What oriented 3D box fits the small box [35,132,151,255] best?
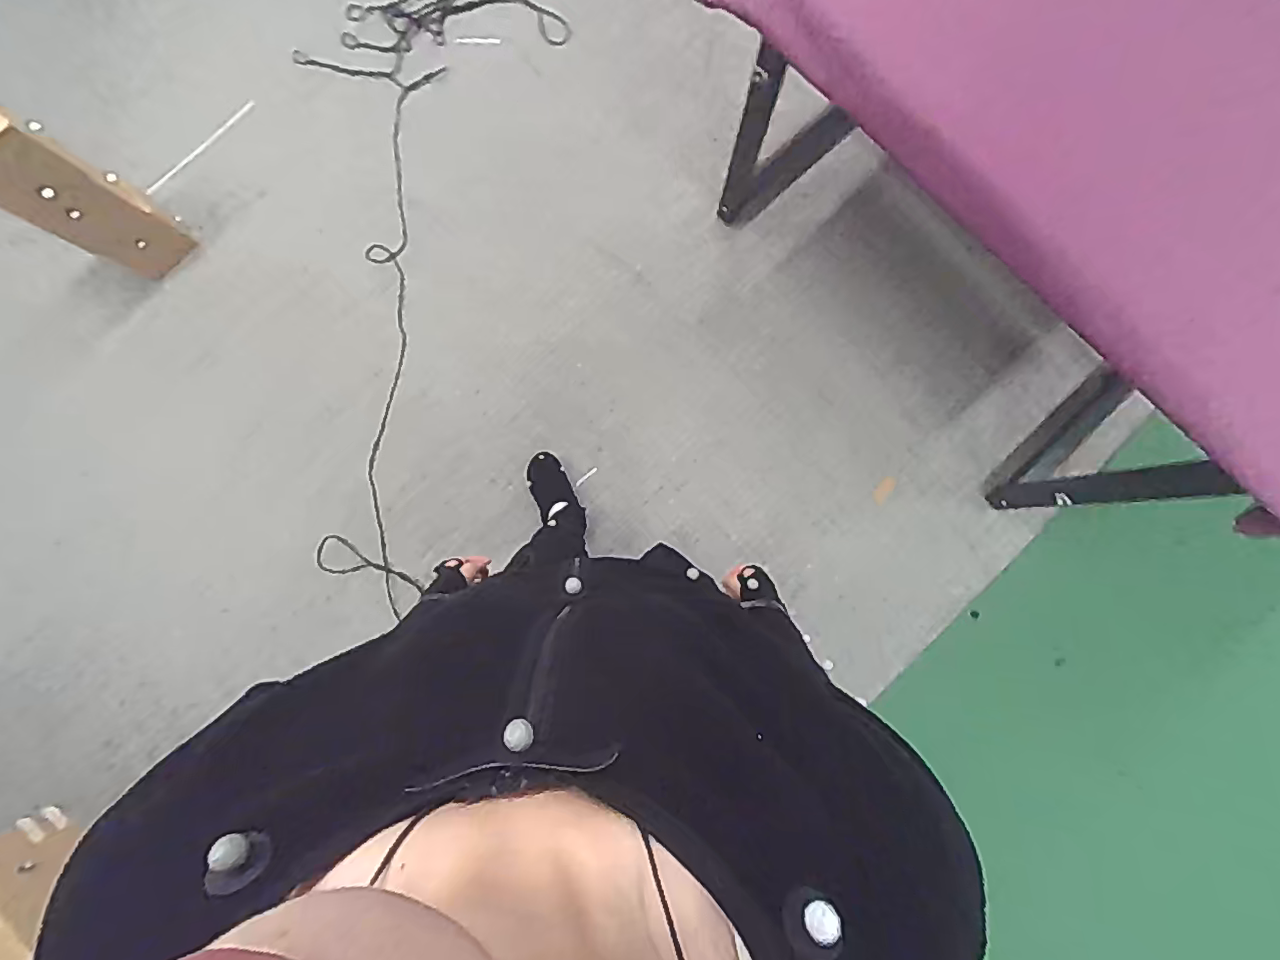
[{"bbox_3d":[-1.405,-0.707,1.356,0.179,0.176,0.168,-44,87,-4],"label":"small box"}]

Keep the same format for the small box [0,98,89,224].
[{"bbox_3d":[-1.392,-0.714,1.192,0.168,0.176,0.179,44,86,4],"label":"small box"}]

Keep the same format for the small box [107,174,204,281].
[{"bbox_3d":[-1.397,-0.699,1.520,0.179,0.176,0.168,-44,86,-4],"label":"small box"}]
